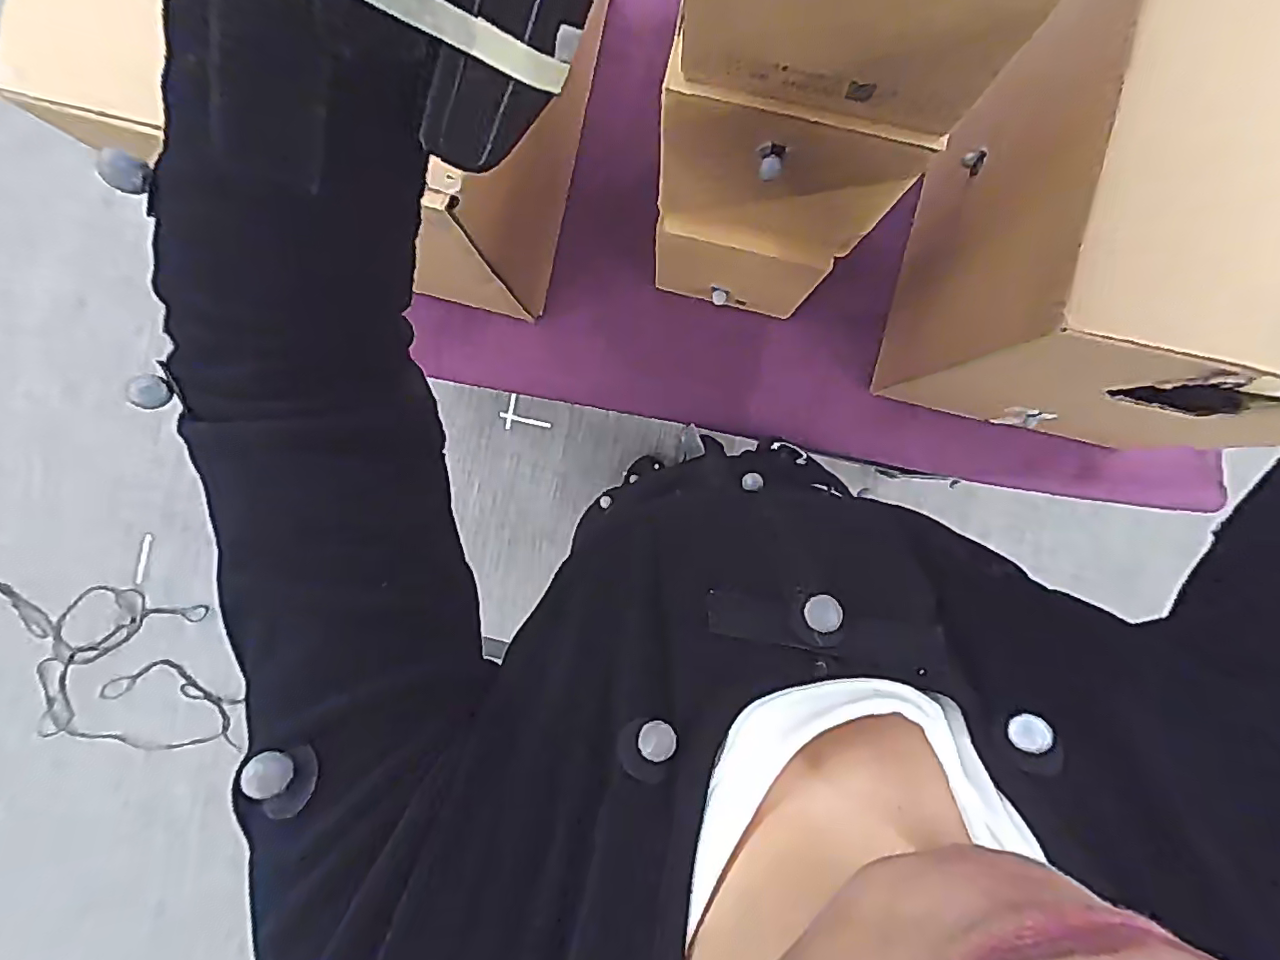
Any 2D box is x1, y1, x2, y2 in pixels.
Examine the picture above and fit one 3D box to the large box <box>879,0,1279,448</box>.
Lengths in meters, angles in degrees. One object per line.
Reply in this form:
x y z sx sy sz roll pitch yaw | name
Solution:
0.460 -0.258 0.488 0.320 0.320 0.408 13 91 1 | large box
